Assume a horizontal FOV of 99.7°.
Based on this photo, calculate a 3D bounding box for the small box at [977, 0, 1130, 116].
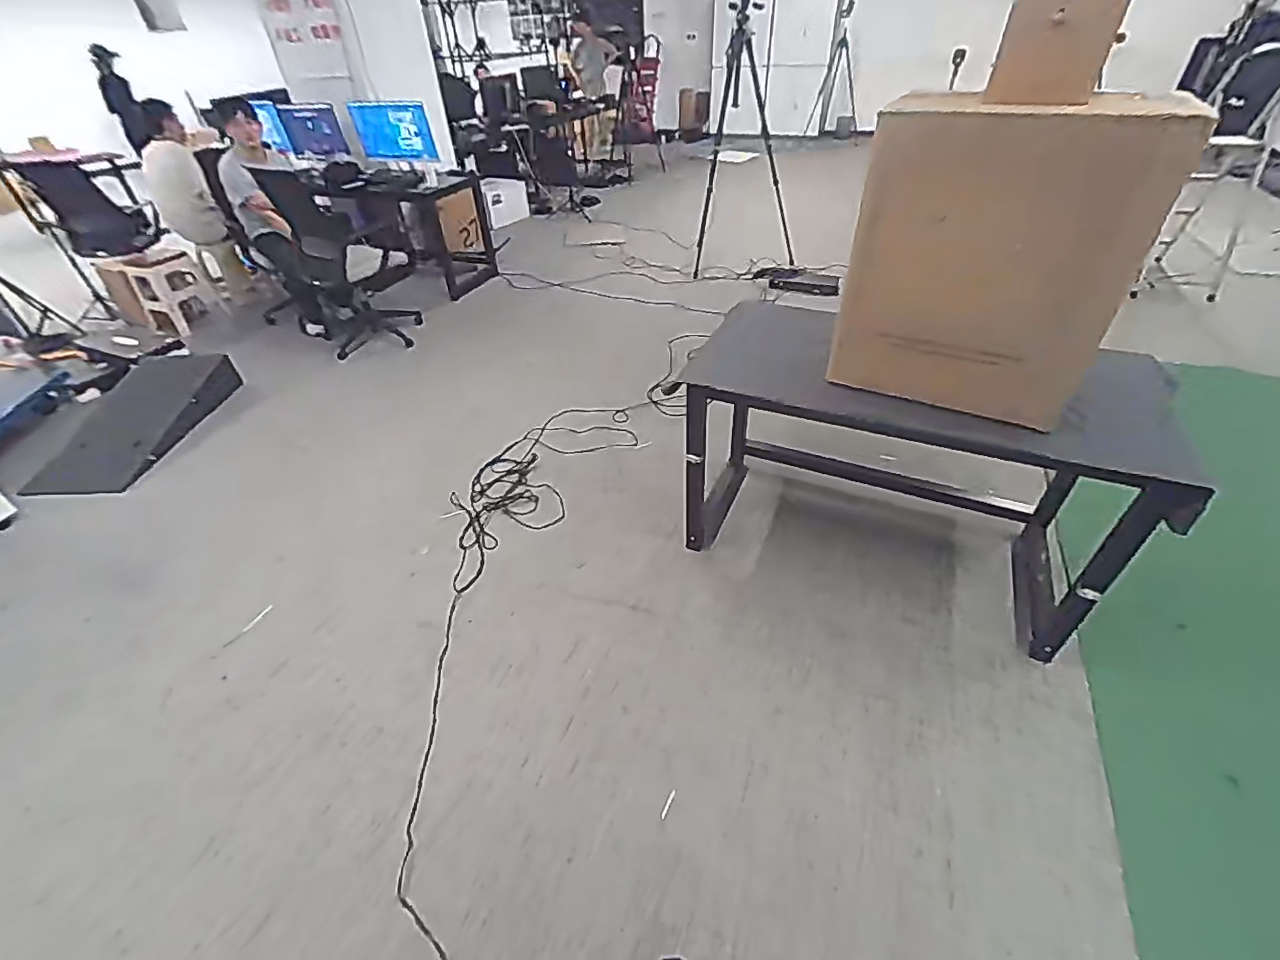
[{"bbox_3d":[0.767,-0.795,1.011,0.179,0.176,0.168,20,47,26],"label":"small box"}]
